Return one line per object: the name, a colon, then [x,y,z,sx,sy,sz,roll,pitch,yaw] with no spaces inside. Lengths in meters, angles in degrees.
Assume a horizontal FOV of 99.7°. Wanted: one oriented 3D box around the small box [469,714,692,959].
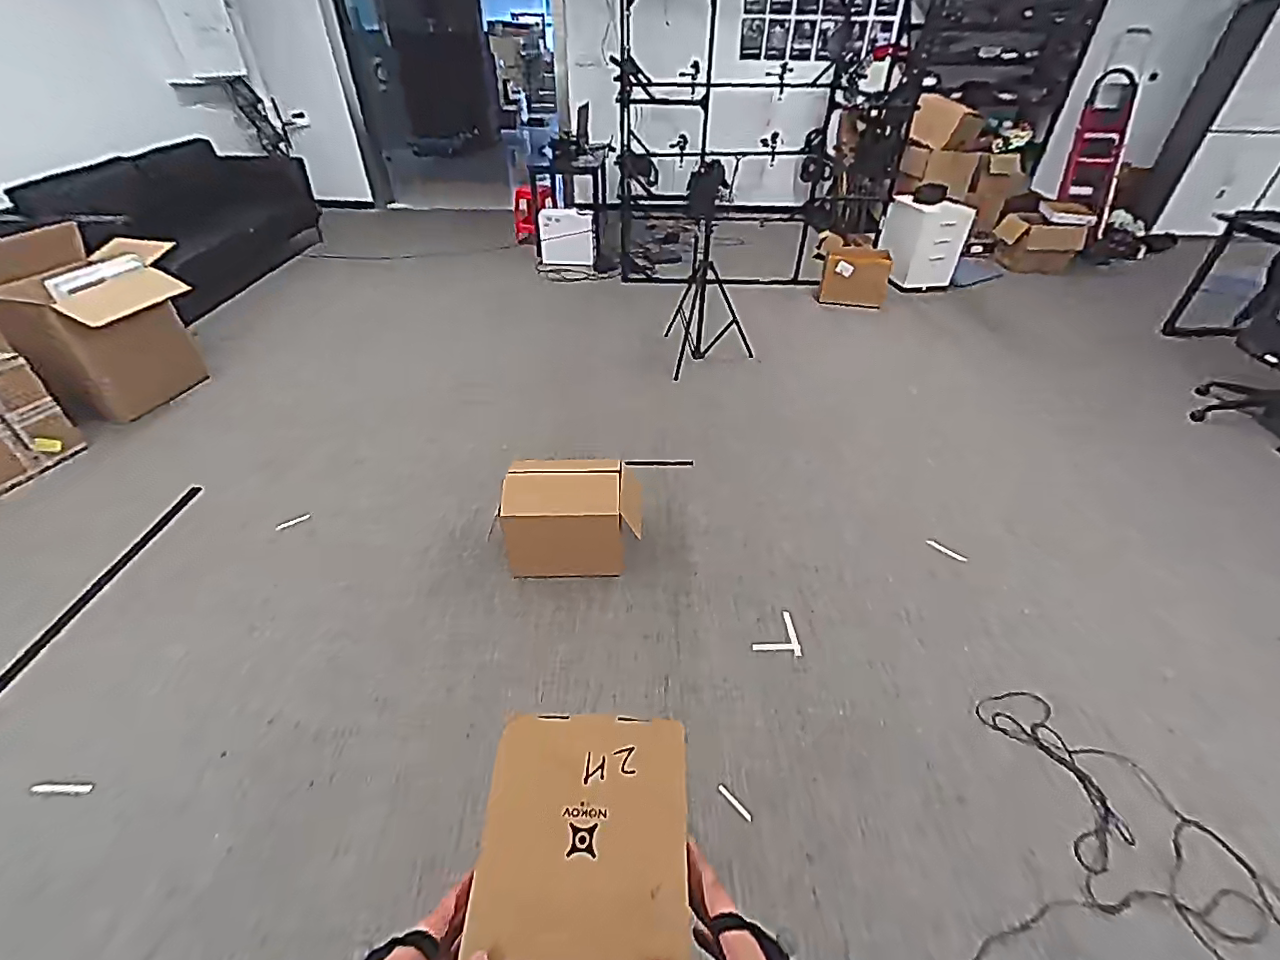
small box: [-0.040,0.340,0.501,0.168,0.176,0.179,3,45,0]
